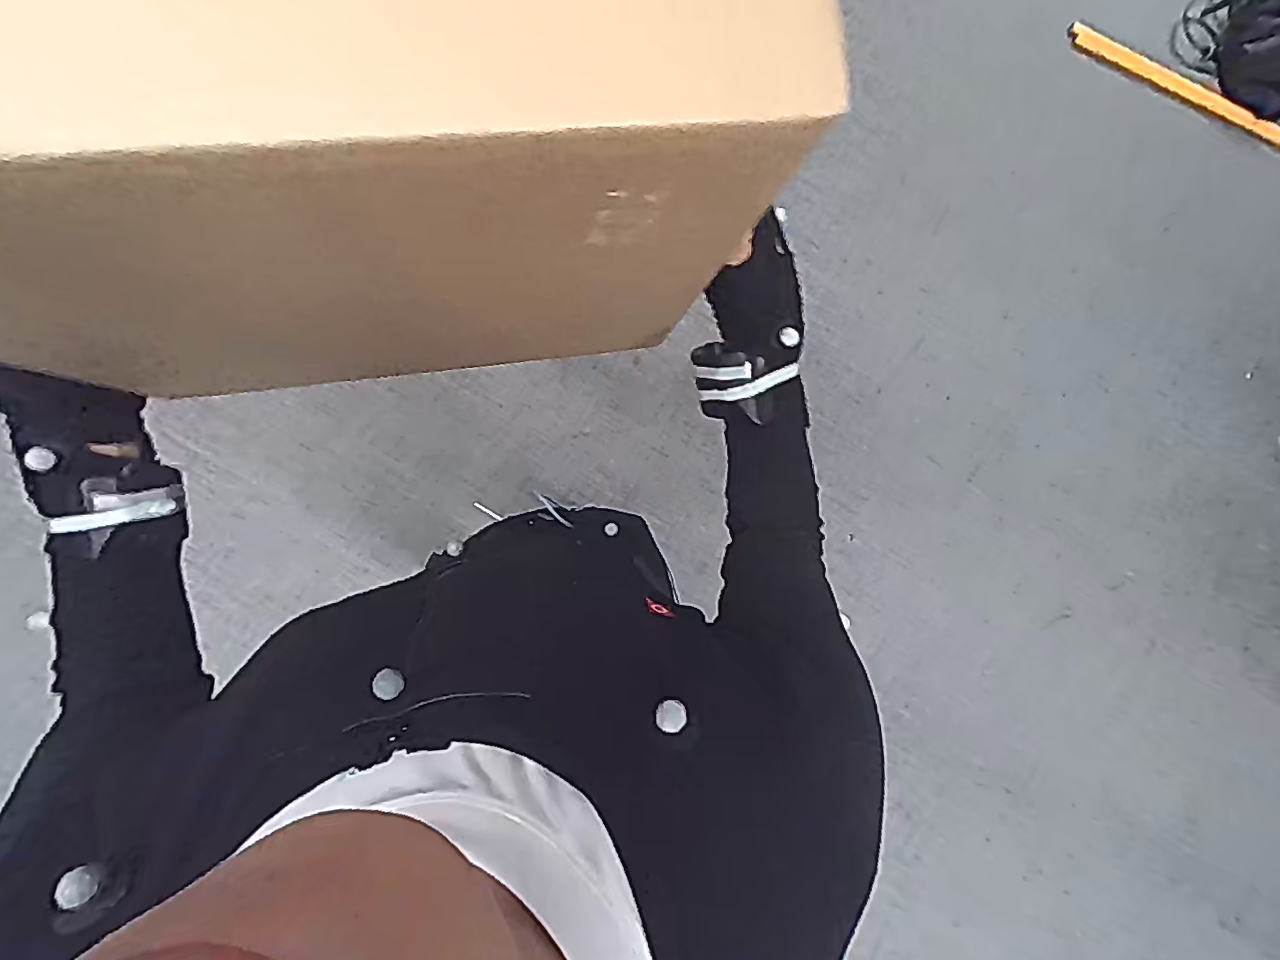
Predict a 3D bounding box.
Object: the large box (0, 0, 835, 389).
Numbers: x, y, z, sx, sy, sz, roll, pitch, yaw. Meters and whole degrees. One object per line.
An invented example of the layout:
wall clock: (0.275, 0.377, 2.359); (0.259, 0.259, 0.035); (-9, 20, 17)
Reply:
large box: (-0.172, -0.255, 0.308); (0.408, 0.320, 0.320); (-9, 92, -11)
